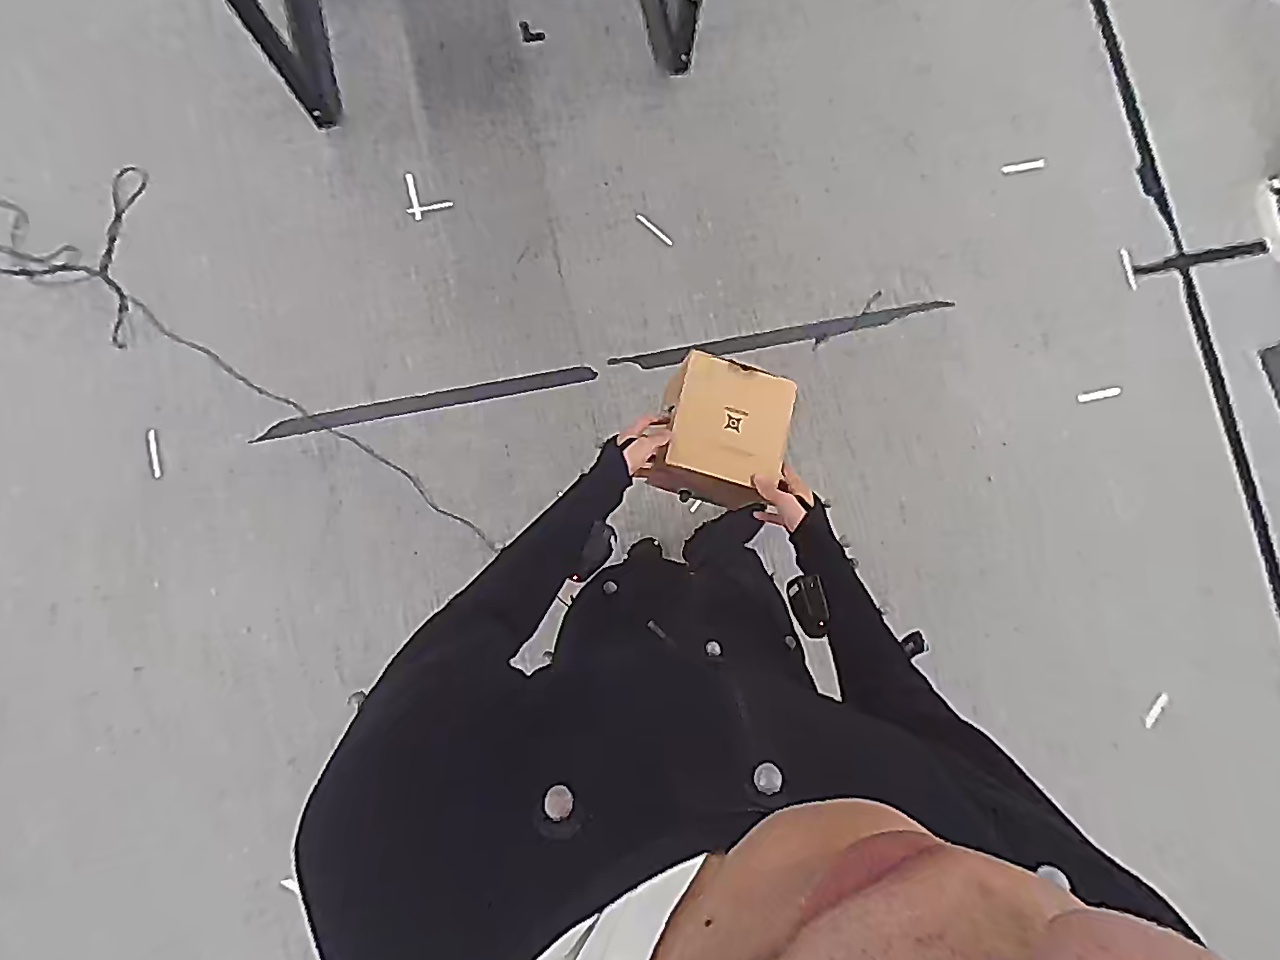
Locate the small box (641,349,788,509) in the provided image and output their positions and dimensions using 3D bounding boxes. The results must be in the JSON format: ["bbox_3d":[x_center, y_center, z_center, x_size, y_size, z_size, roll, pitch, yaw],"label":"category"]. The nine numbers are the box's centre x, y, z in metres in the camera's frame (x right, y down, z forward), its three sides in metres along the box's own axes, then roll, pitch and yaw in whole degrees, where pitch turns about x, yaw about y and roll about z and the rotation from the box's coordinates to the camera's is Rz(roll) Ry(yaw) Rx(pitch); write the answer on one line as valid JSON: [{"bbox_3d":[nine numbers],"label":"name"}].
[{"bbox_3d":[0.107,-0.068,0.831,0.168,0.176,0.179,14,76,-7],"label":"small box"}]
